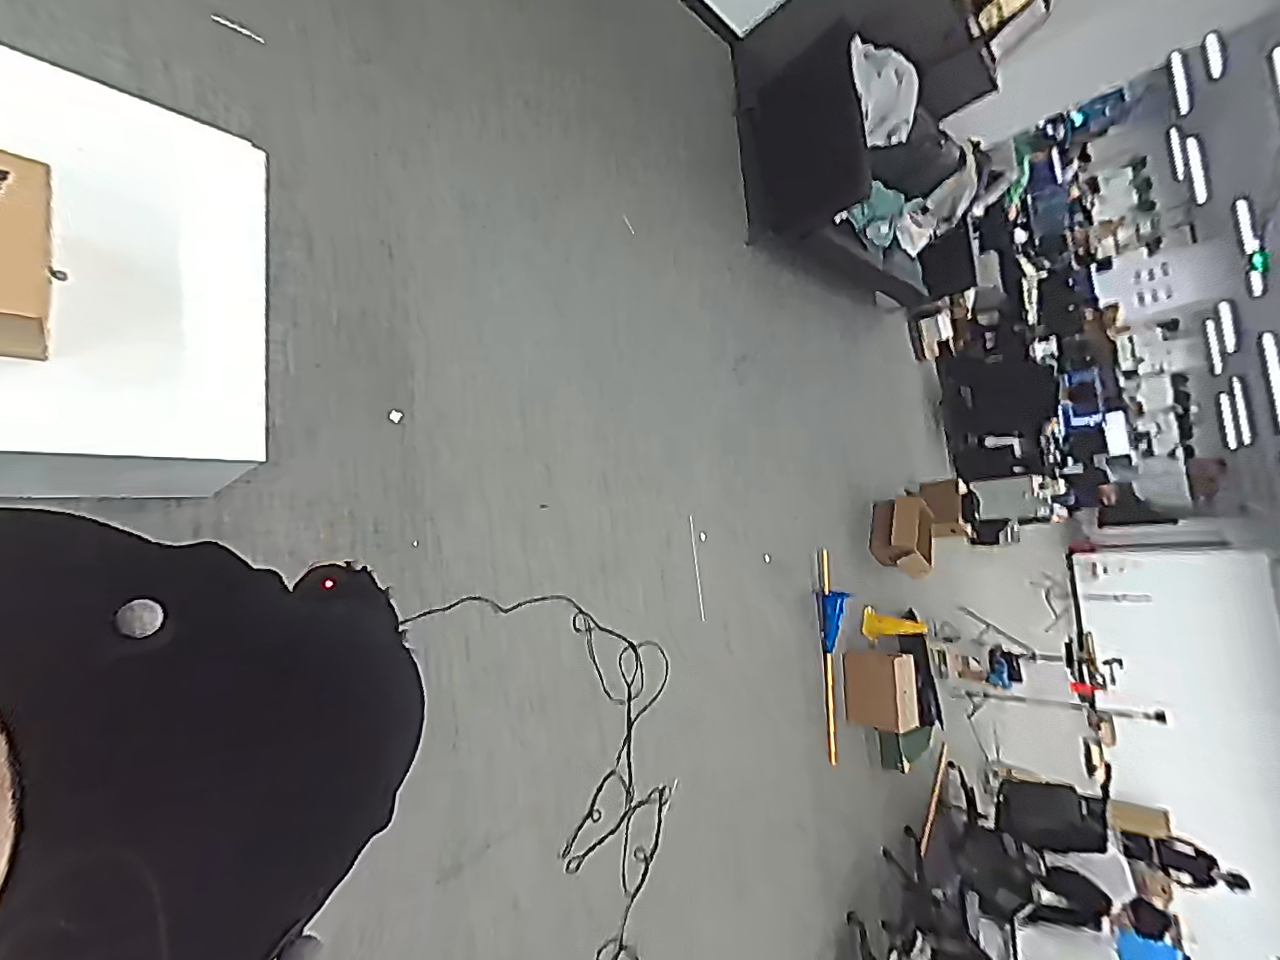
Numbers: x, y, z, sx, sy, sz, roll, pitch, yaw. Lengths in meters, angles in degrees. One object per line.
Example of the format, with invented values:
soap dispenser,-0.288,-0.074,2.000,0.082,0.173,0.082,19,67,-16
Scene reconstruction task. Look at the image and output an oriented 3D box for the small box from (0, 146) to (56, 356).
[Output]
small box,-0.738,-0.249,0.566,0.168,0.176,0.179,2,82,-46
